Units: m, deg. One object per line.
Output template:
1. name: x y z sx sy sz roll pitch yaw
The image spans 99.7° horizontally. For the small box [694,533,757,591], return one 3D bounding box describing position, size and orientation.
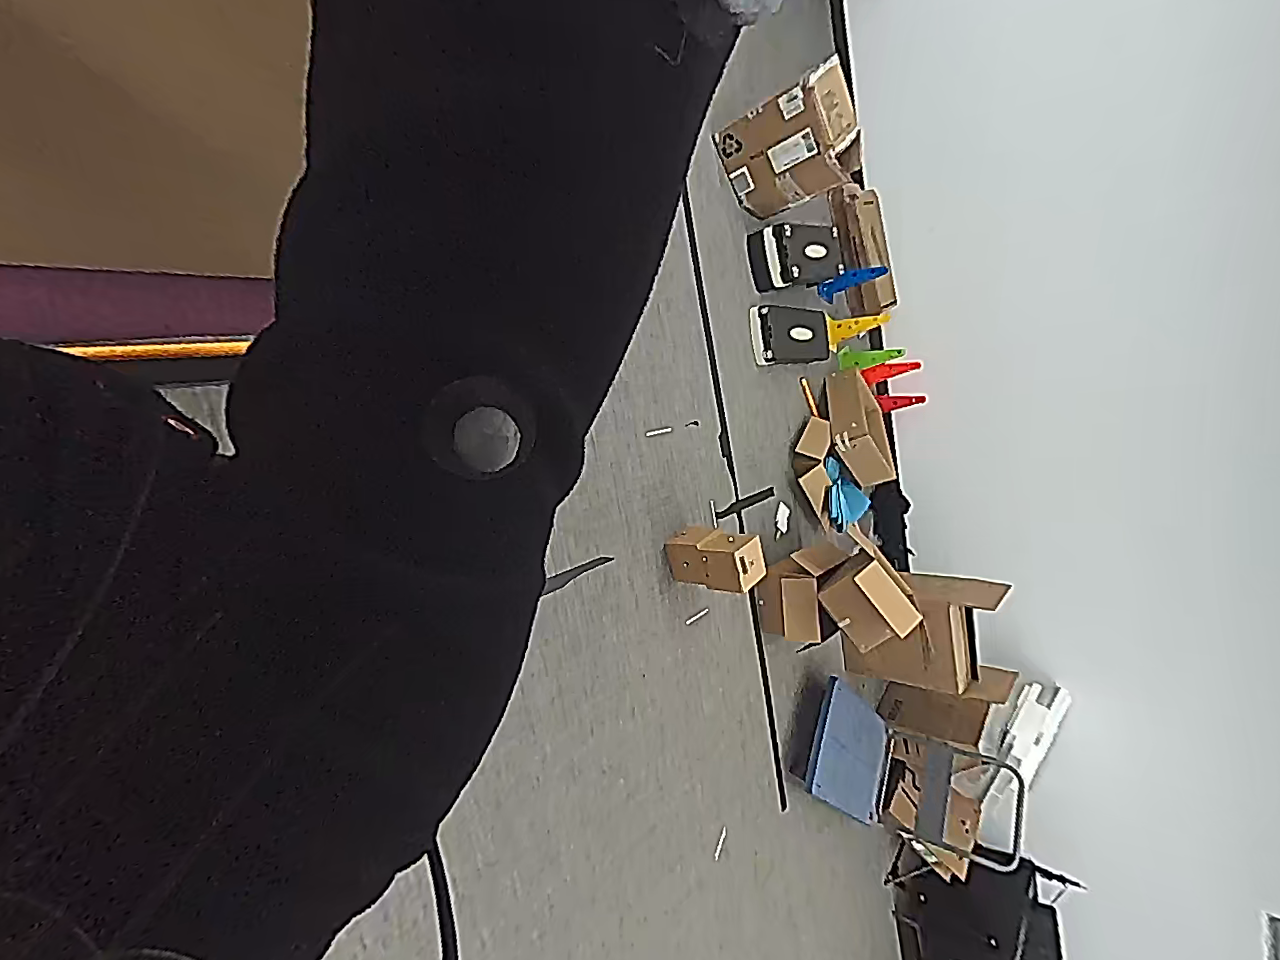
1. small box: 0.320 0.309 2.062 0.179 0.176 0.168 -25 107 -45
